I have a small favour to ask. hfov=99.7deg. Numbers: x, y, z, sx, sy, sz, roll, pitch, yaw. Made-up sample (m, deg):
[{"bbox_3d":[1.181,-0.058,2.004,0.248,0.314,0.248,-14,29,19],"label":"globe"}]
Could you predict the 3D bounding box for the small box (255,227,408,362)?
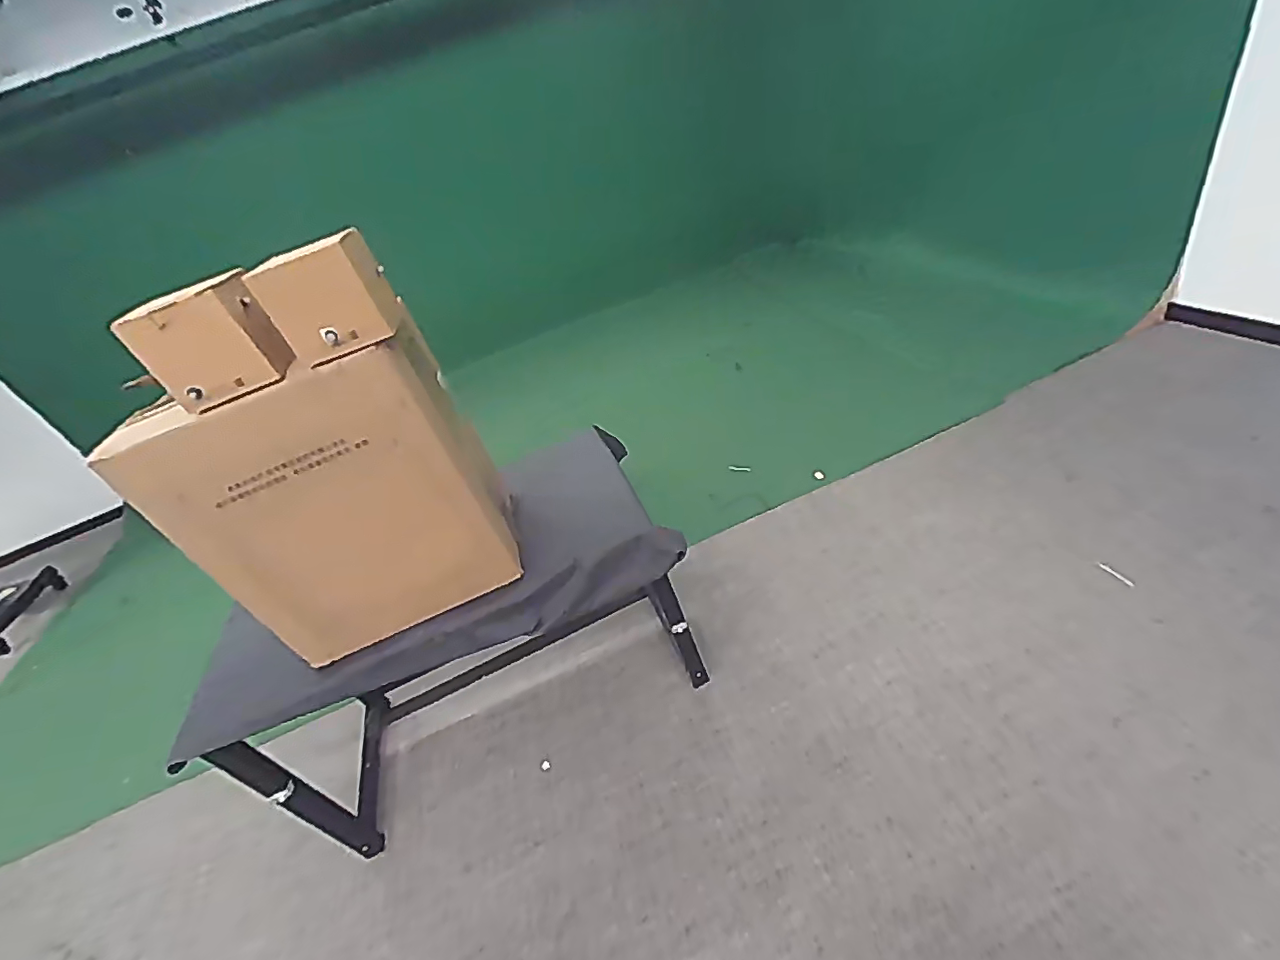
[{"bbox_3d":[-0.544,-0.338,0.987,0.168,0.176,0.179,-23,37,-4],"label":"small box"}]
